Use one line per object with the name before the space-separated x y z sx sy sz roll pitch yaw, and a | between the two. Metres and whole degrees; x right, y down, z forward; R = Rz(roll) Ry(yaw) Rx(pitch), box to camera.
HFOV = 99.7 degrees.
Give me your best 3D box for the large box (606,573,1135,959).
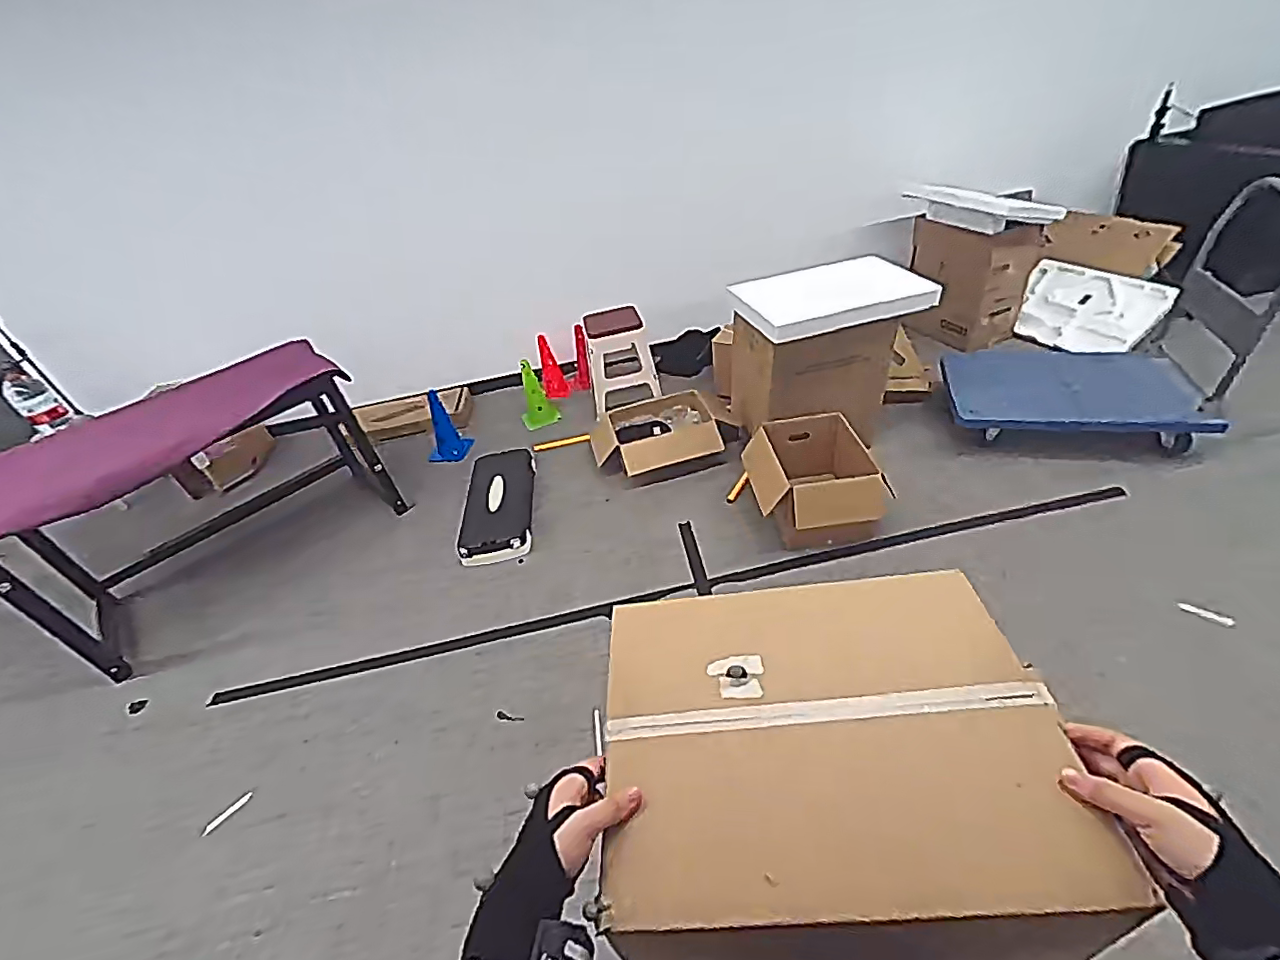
large box | 0.195 0.347 0.617 0.408 0.320 0.320 -9 36 7
